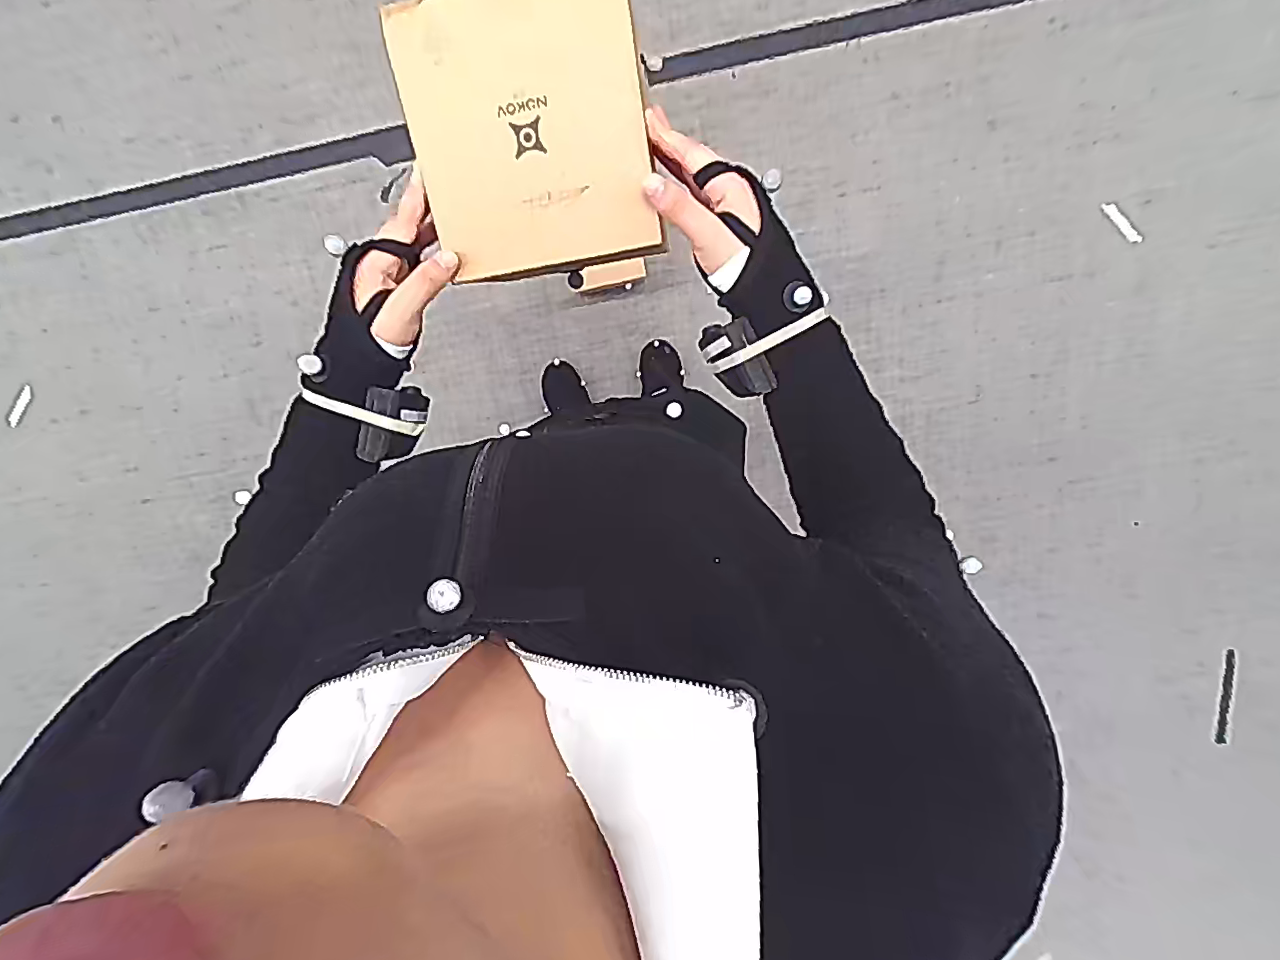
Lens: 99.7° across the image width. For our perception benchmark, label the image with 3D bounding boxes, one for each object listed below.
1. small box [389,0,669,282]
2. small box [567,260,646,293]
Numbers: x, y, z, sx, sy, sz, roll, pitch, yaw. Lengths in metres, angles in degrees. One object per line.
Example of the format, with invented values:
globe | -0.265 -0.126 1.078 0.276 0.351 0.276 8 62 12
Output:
small box | -0.069 -0.270 0.453 0.168 0.176 0.179 -7 111 8
small box | -0.088 -0.541 1.273 0.179 0.176 0.168 -11 107 3
